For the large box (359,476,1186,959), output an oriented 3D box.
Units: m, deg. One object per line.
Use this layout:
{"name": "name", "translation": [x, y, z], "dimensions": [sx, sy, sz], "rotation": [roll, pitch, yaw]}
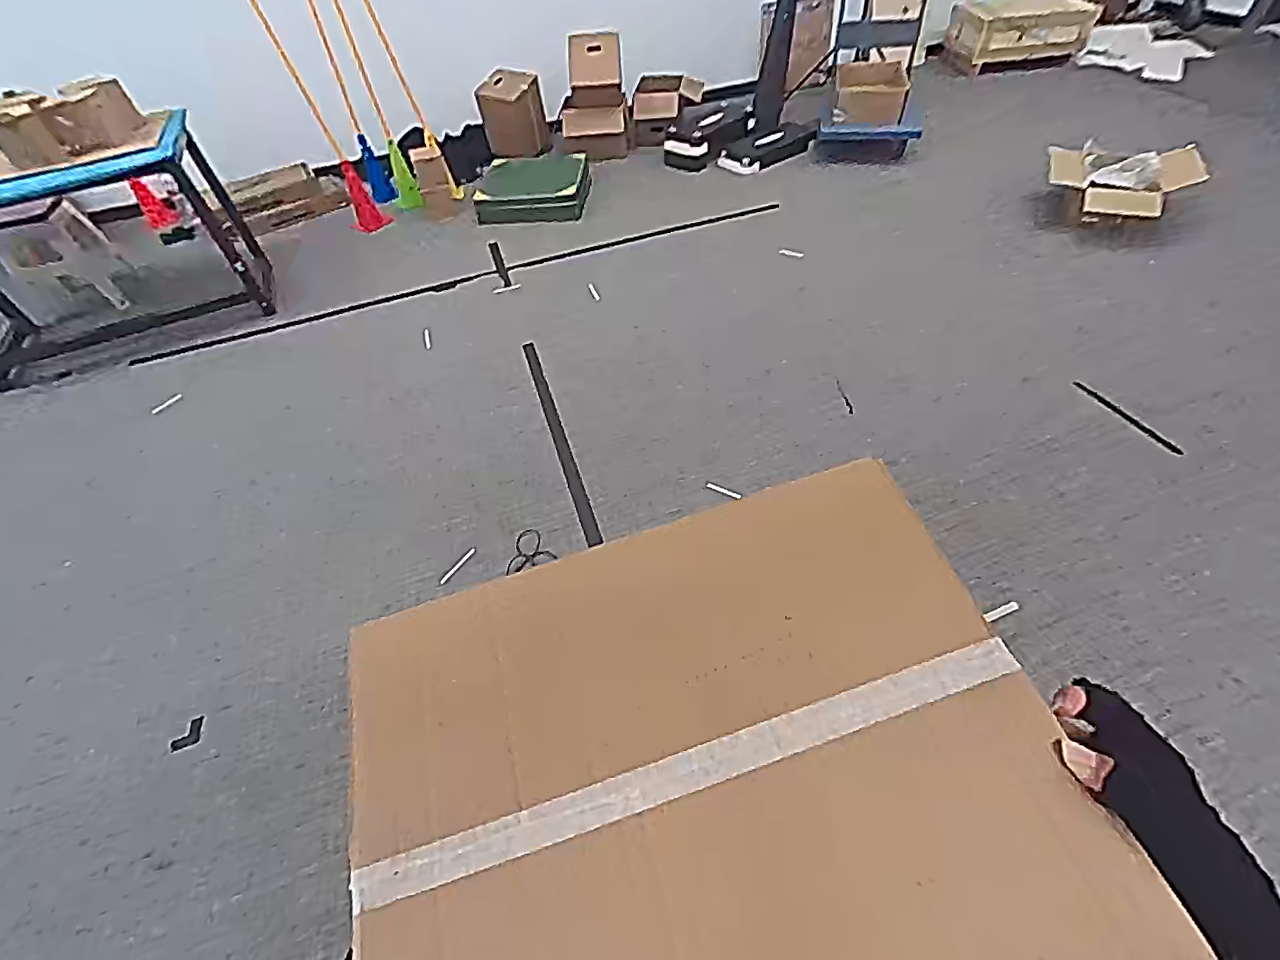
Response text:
{"name": "large box", "translation": [0.051, 0.255, 0.448], "dimensions": [0.408, 0.320, 0.320], "rotation": [-19, 58, -3]}
